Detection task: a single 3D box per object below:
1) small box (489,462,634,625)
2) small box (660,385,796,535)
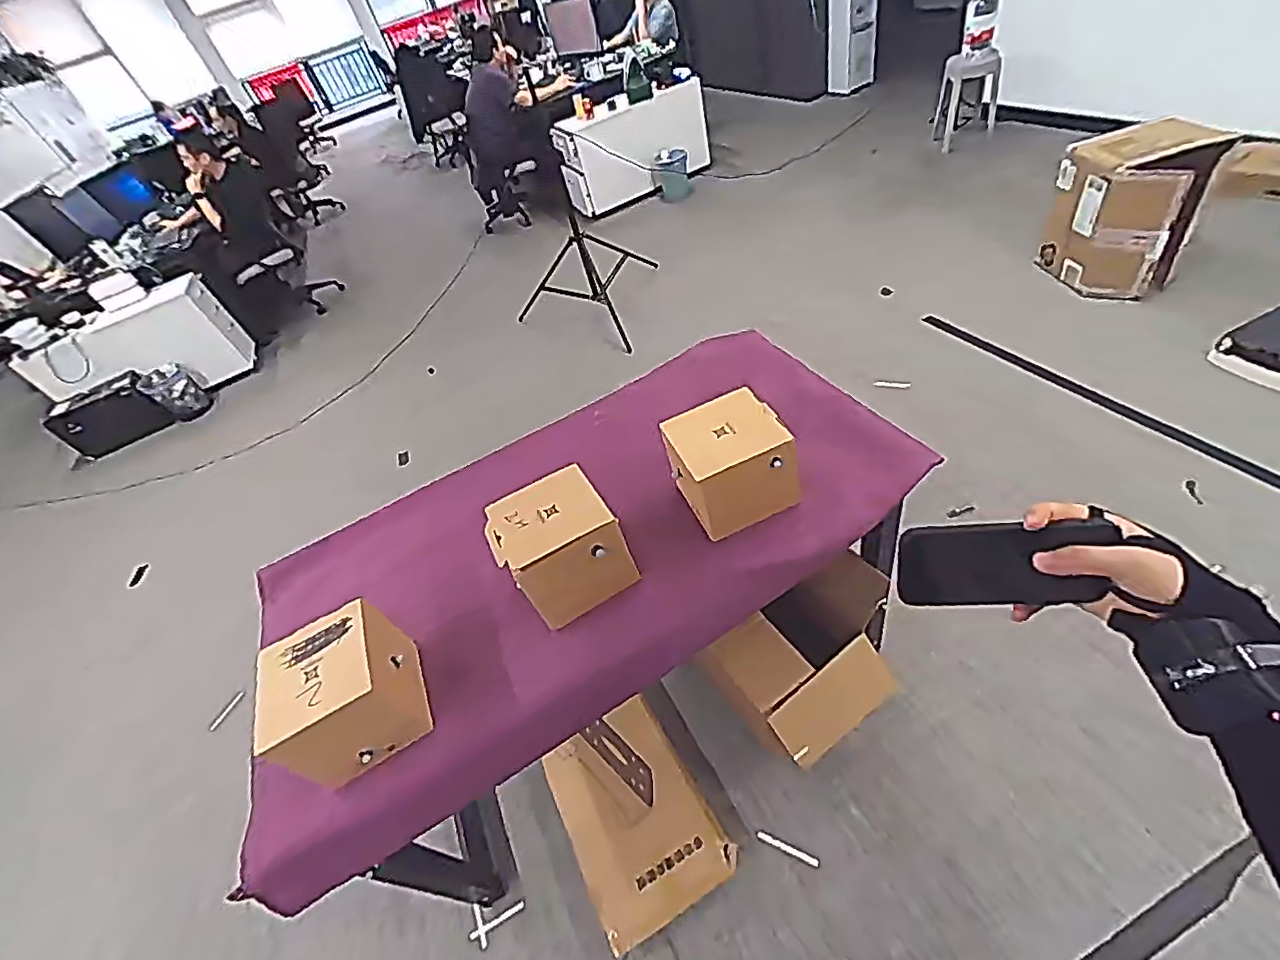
[{"bbox_3d":[-0.125,0.108,0.916,0.179,0.176,0.168,-30,44,-10],"label":"small box"},{"bbox_3d":[0.159,-0.032,0.955,0.179,0.176,0.168,-24,45,-5],"label":"small box"}]
